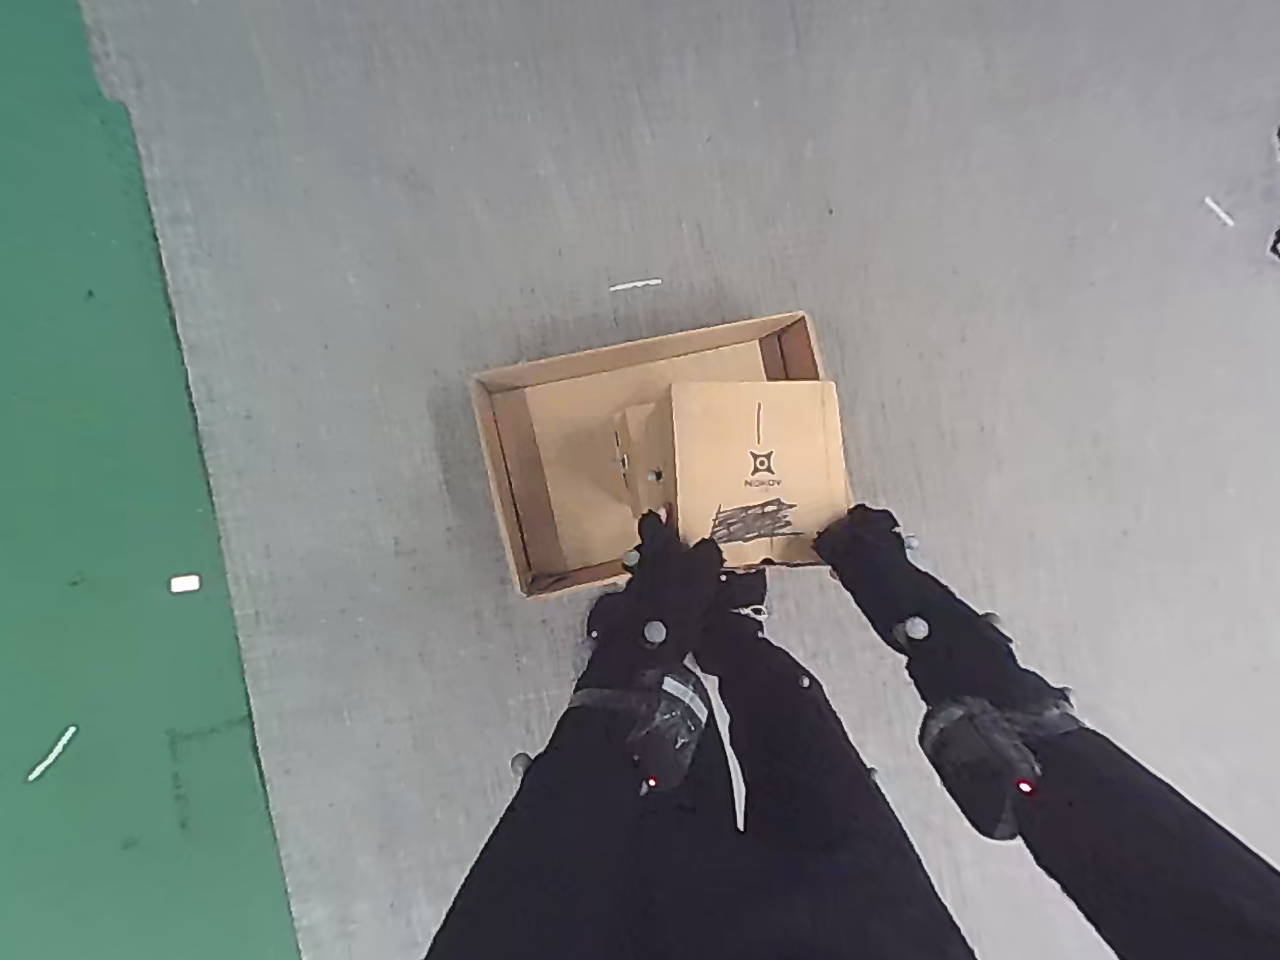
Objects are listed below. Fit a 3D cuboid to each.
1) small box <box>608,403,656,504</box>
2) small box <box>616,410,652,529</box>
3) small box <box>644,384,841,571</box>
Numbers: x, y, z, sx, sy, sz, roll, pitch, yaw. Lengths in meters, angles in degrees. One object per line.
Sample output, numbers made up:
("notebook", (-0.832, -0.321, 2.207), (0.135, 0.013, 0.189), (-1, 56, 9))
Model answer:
("small box", (0.041, -0.050, 1.003), (0.179, 0.176, 0.168), (-14, 90, -7))
("small box", (0.070, -0.027, 0.824), (0.179, 0.176, 0.168), (-13, 91, -7))
("small box", (0.098, 0.002, 0.590), (0.168, 0.176, 0.179), (-2, 83, -8))
